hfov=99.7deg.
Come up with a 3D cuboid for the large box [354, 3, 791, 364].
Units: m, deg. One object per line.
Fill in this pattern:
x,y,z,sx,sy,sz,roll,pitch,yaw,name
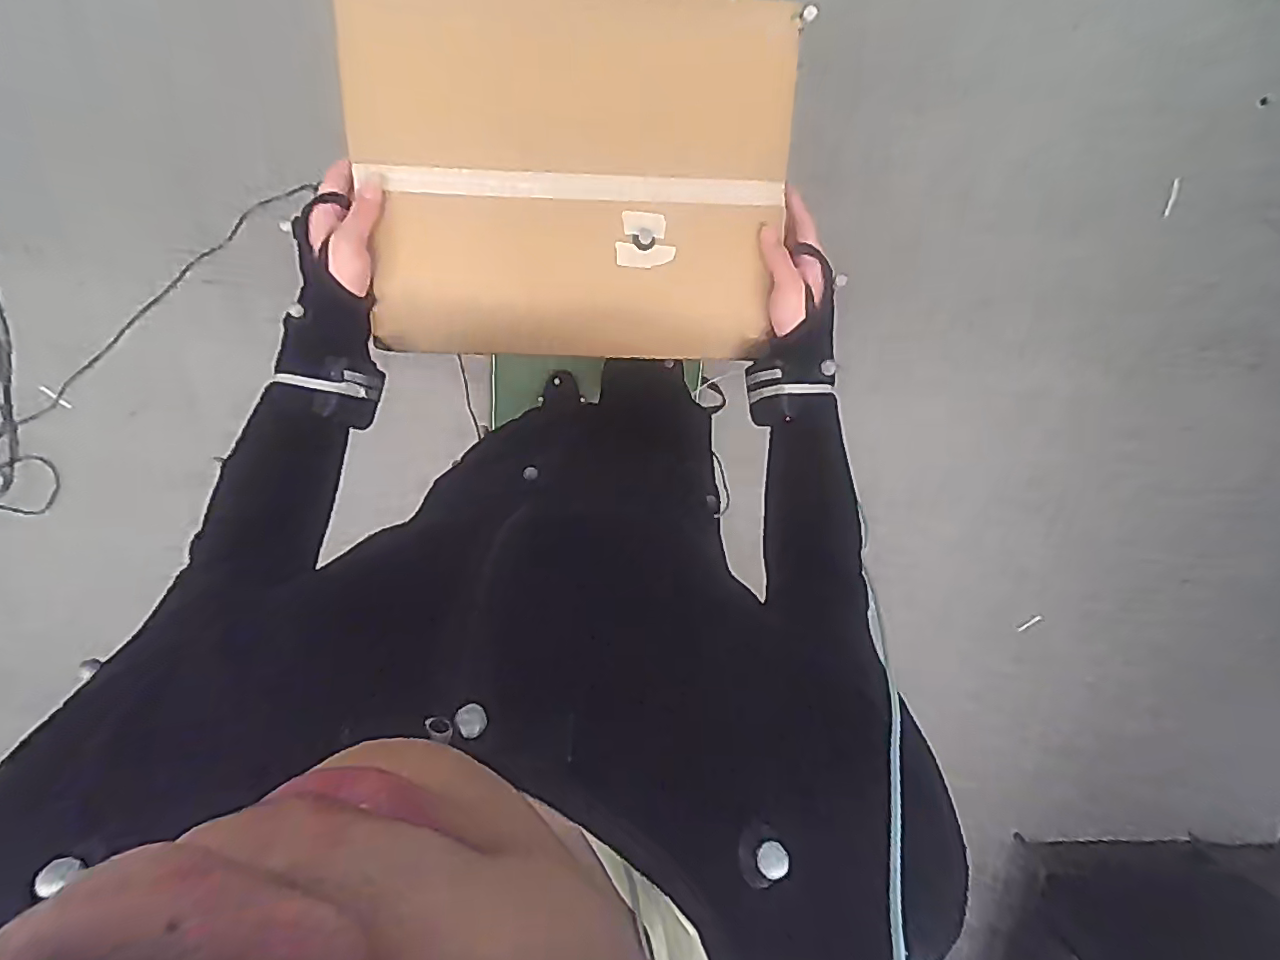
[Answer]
-0.070,-0.313,0.672,0.408,0.320,0.320,0,107,-5,large box
